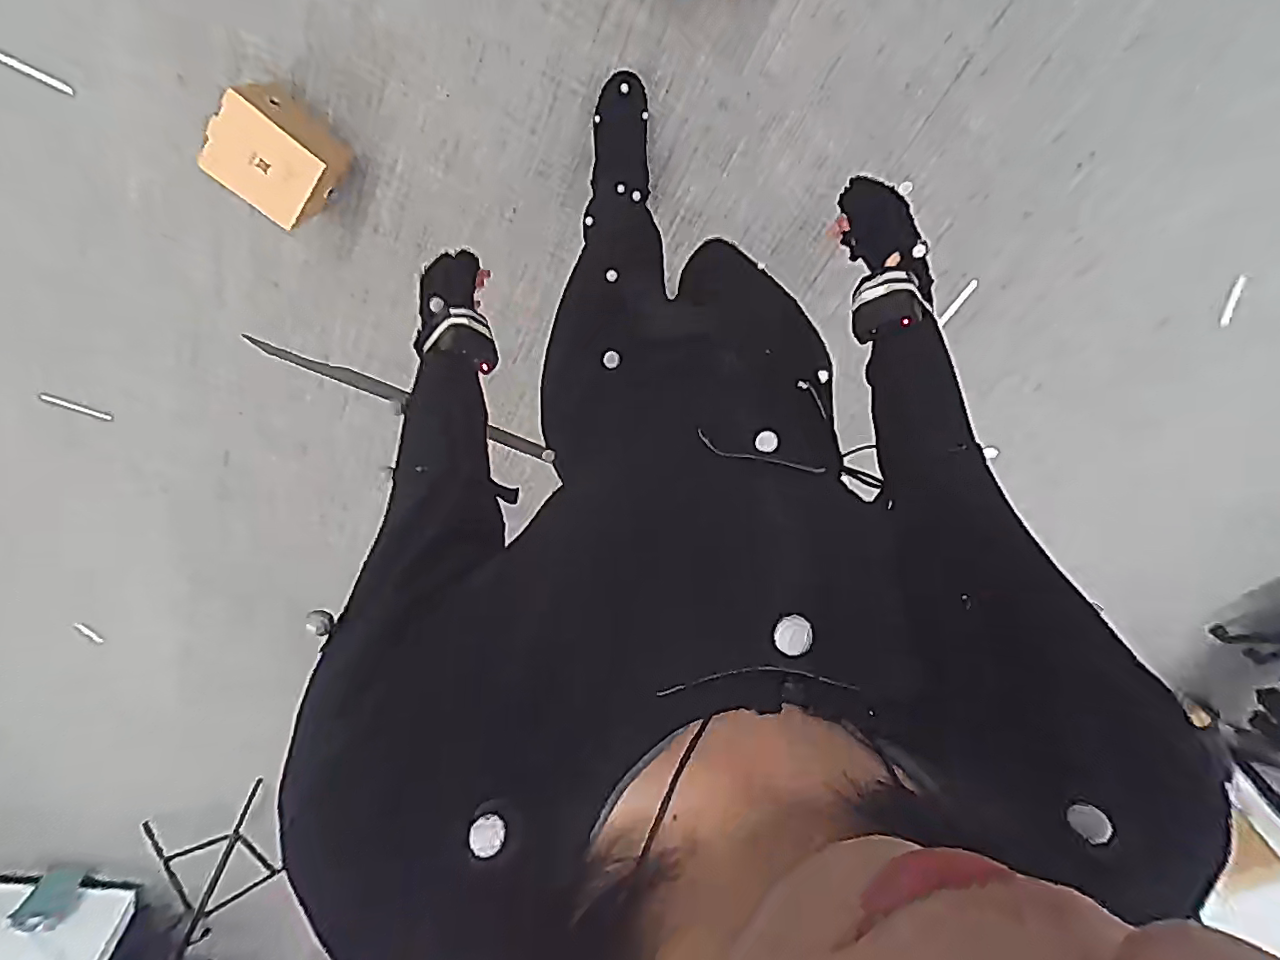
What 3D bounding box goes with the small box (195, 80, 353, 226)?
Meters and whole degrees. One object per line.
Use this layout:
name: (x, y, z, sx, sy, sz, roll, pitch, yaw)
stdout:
small box: (-0.708, -0.644, 1.064, 0.179, 0.176, 0.168, 35, 119, -29)
